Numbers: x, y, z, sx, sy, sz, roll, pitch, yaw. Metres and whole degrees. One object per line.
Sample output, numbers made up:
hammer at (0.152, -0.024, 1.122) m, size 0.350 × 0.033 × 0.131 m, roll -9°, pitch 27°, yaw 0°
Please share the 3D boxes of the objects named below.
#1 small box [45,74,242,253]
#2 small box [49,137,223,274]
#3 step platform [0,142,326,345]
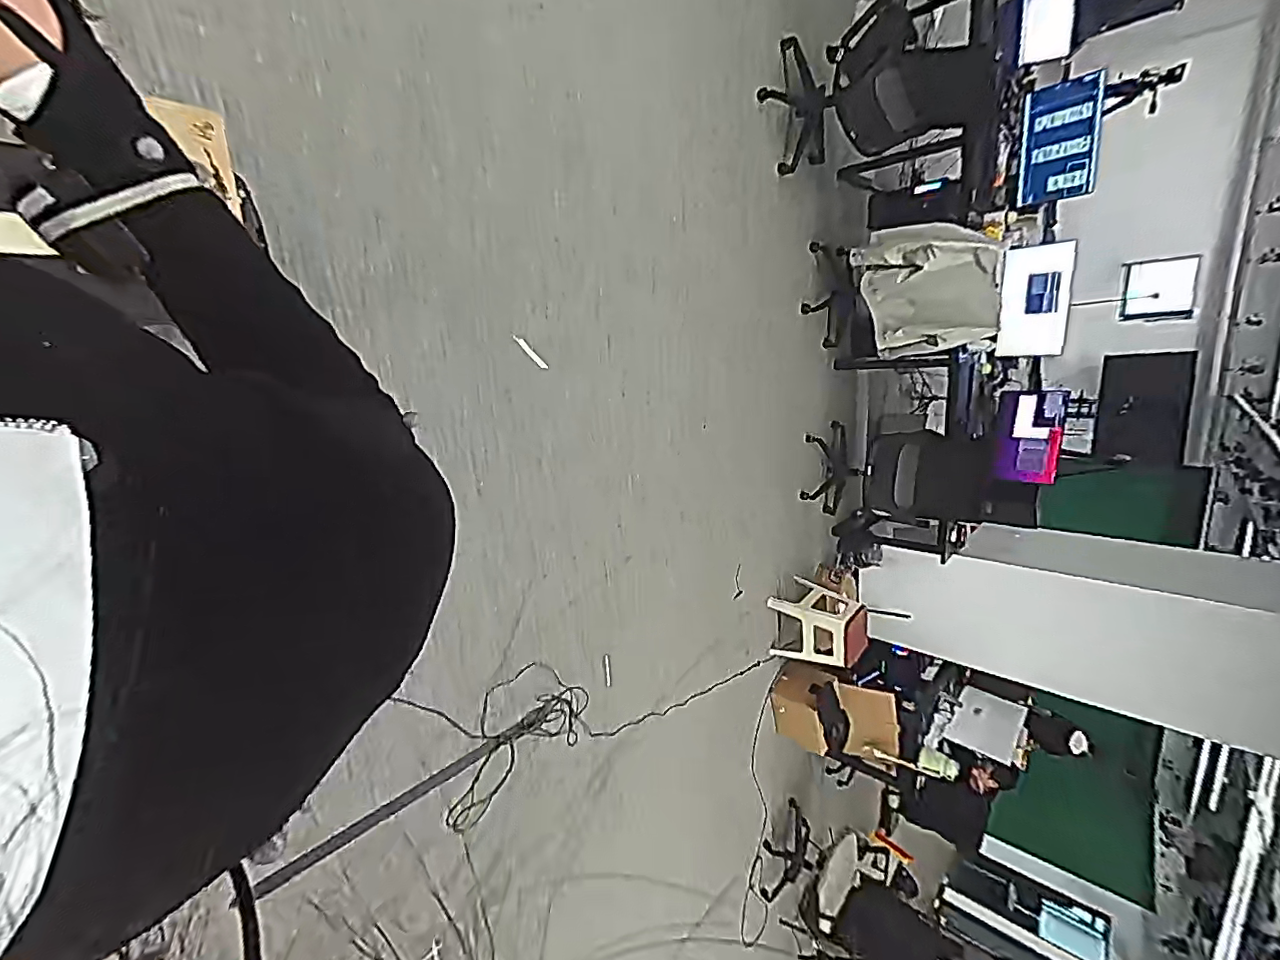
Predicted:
small box at (-0.713, -0.437, 0.784) m, size 0.179 × 0.176 × 0.168 m, roll -15°, pitch 107°, yaw -45°
small box at (-0.833, -0.436, 0.896) m, size 0.179 × 0.176 × 0.168 m, roll -18°, pitch 109°, yaw -44°
step platform at (-0.880, -0.356, 0.802) m, size 0.684 × 0.204 × 0.286 m, roll -21°, pitch 111°, yaw -45°
